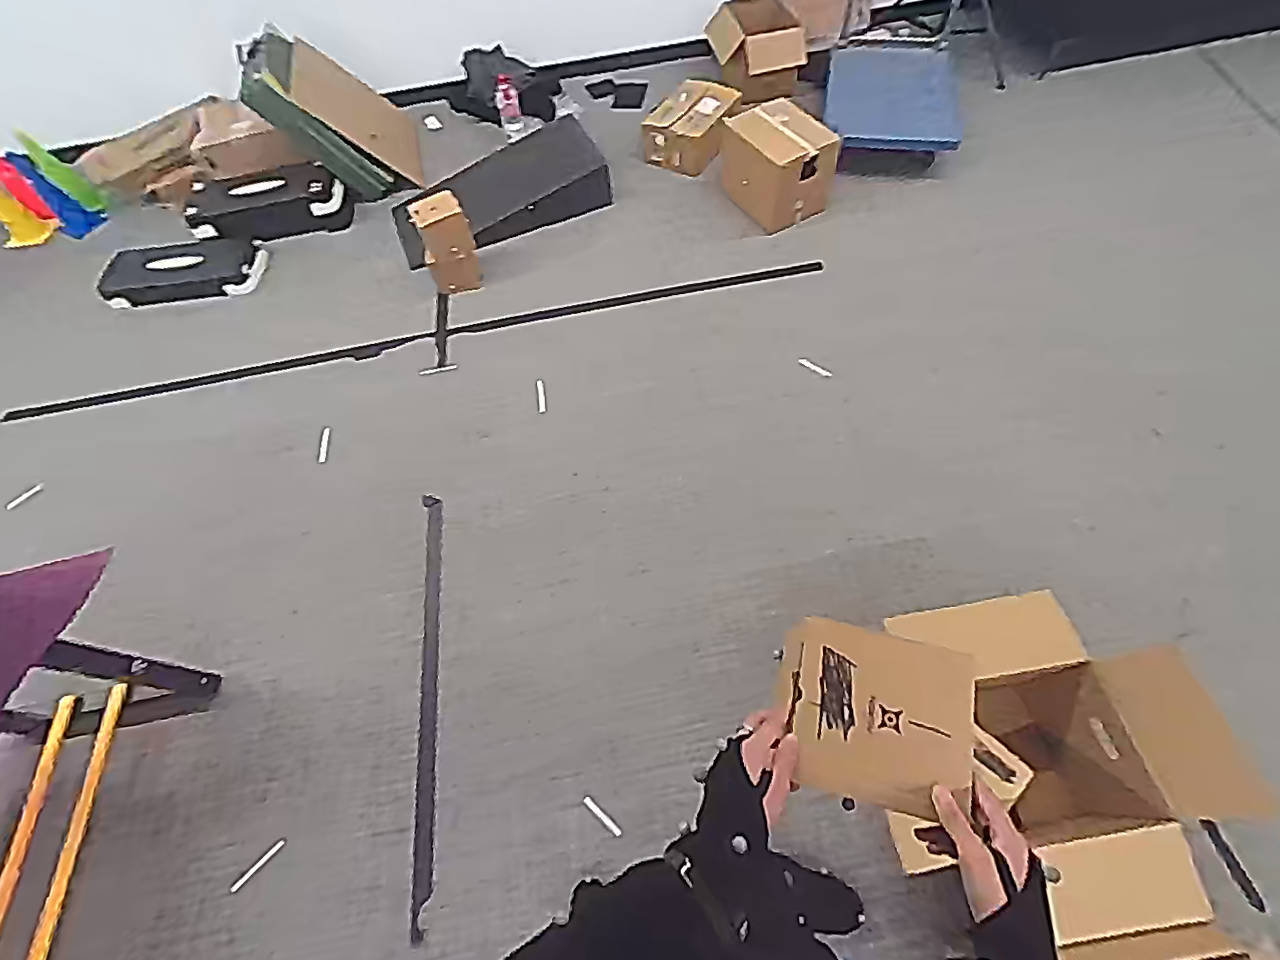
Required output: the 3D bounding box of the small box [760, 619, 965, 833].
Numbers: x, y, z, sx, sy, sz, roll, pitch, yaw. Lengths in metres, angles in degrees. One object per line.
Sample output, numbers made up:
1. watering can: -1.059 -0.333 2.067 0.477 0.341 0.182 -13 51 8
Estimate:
1. small box: 0.241 0.273 0.618 0.179 0.176 0.168 11 68 10
